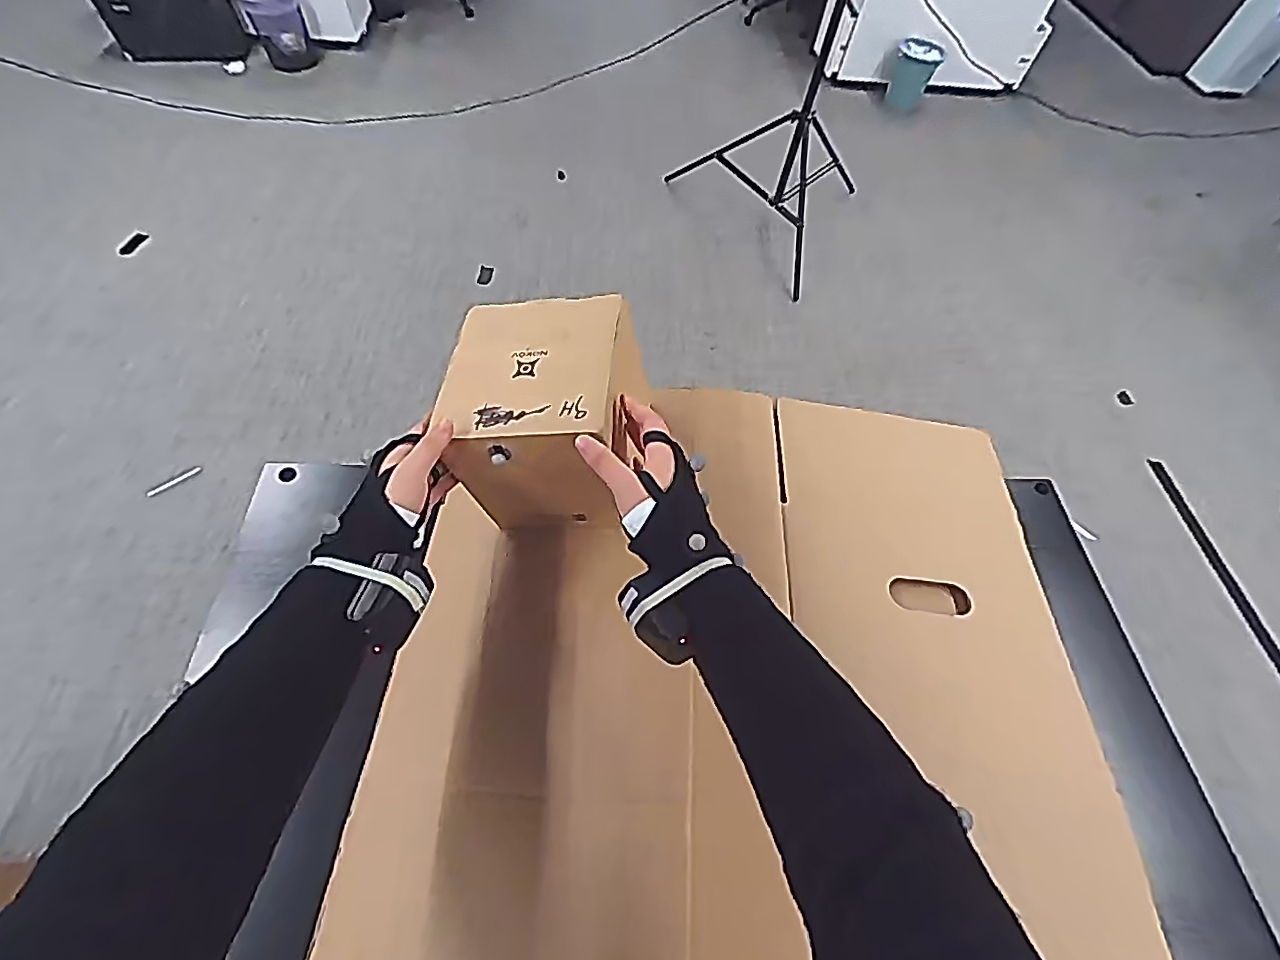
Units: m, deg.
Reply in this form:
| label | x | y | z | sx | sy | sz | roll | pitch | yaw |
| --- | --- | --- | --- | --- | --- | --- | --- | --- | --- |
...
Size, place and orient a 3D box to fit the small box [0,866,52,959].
| label | x | y | z | sx | sy | sz | roll | pitch | yaw |
| --- | --- | --- | --- | --- | --- | --- | --- | --- | --- |
| small box | -1.235 | 0.807 | 0.967 | 0.168 | 0.176 | 0.179 | -3 | 60 | -7 |

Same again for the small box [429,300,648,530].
| label | x | y | z | sx | sy | sz | roll | pitch | yaw |
| --- | --- | --- | --- | --- | --- | --- | --- | --- | --- |
| small box | -0.088 | -0.062 | 0.575 | 0.168 | 0.176 | 0.179 | -2 | 56 | 11 |
